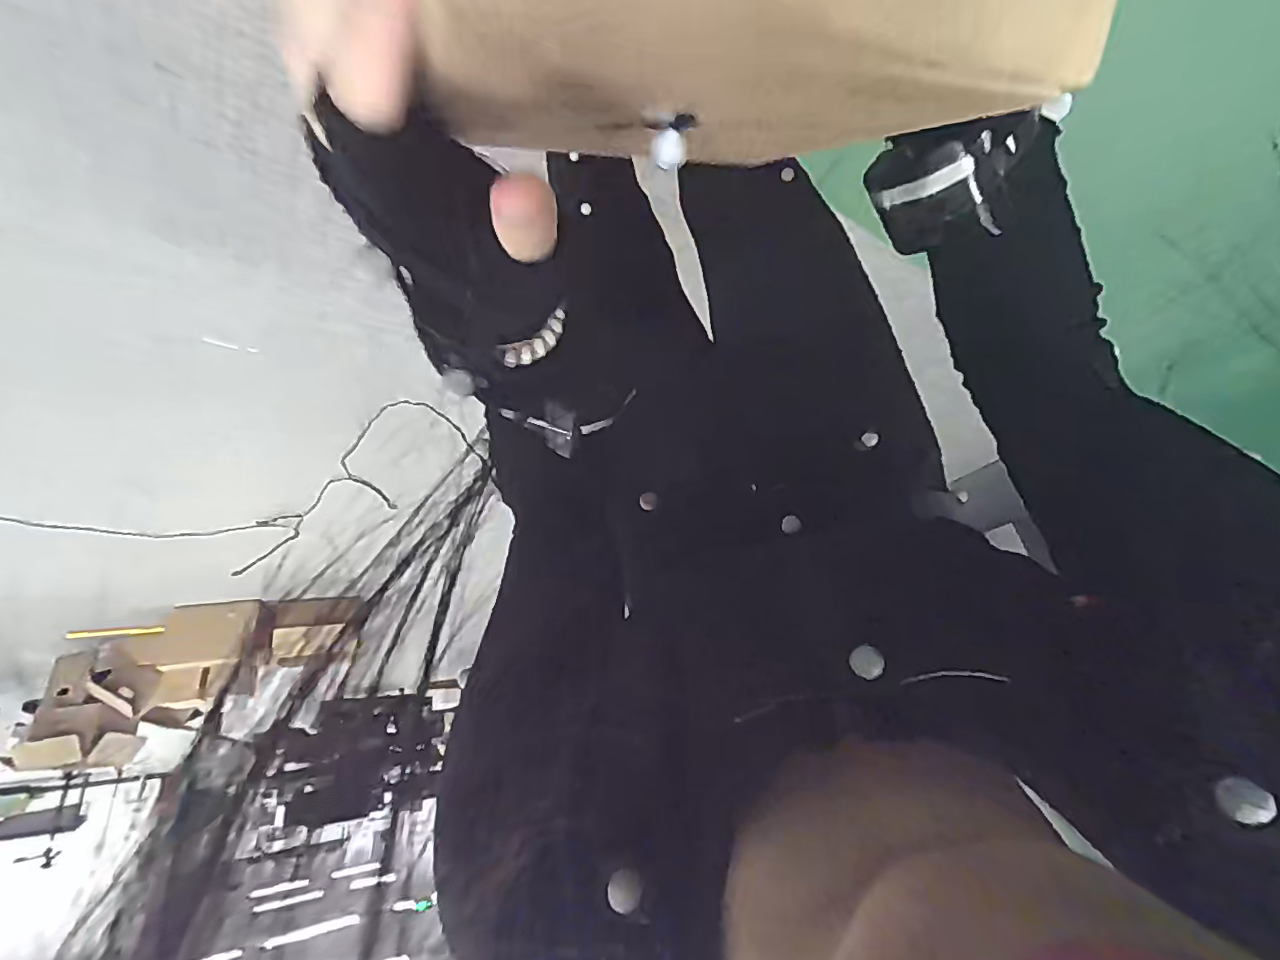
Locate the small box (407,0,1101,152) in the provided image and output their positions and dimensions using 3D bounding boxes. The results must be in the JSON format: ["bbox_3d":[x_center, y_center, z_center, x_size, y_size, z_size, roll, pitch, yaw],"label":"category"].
[{"bbox_3d":[0.019,-0.202,0.163,0.179,0.176,0.168,-11,119,-19],"label":"small box"}]
